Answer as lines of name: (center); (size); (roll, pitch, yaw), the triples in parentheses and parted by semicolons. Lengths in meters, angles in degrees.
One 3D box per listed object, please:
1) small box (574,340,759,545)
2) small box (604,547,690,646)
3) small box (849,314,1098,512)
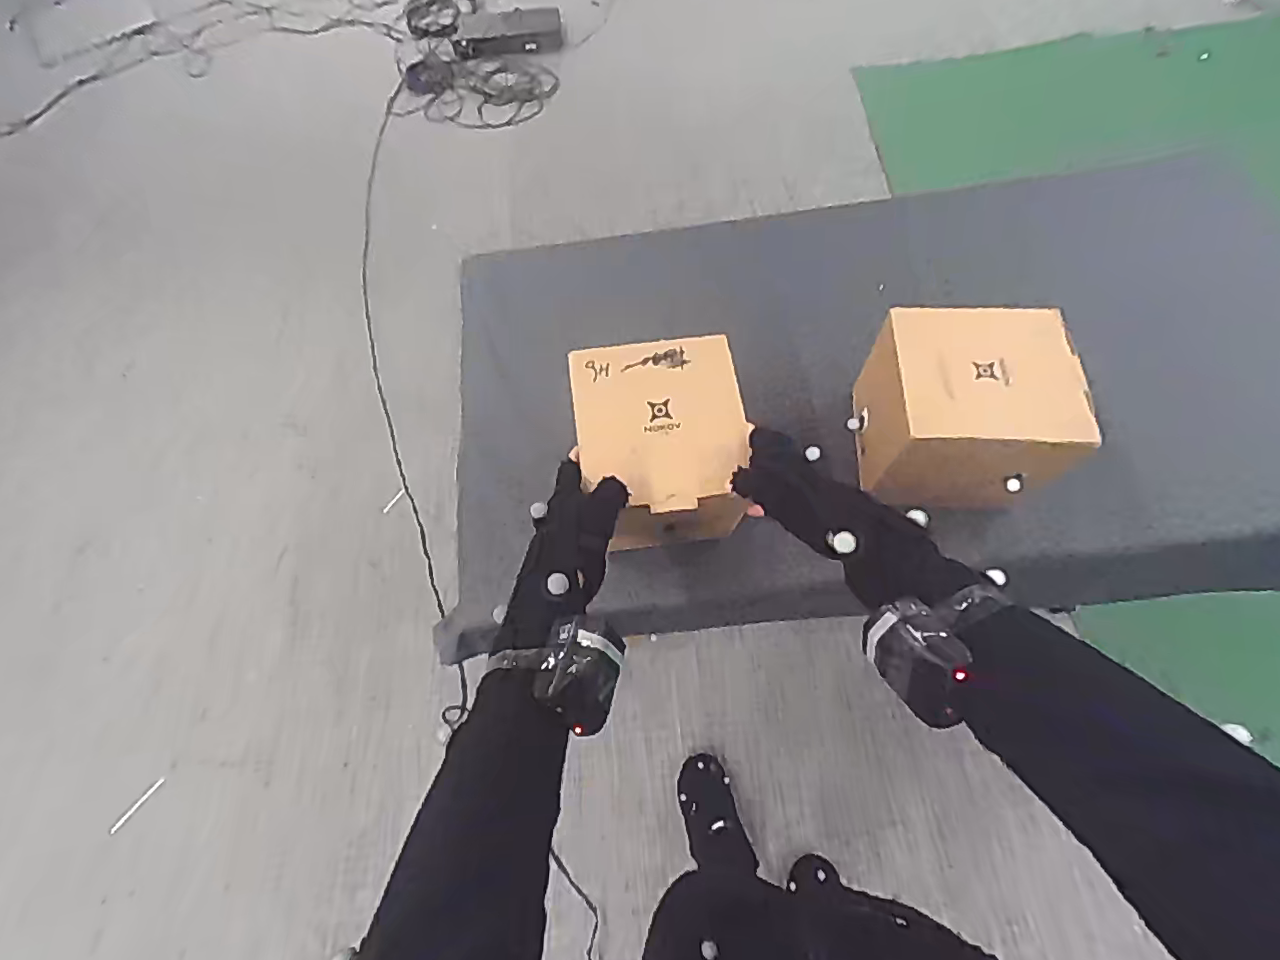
small box: (0.021, -0.030, 0.605); (0.168, 0.176, 0.179); (-7, 70, -4)
small box: (0.016, 0.283, 1.292); (0.168, 0.176, 0.179); (-14, 65, -2)
small box: (0.361, -0.070, 0.626); (0.179, 0.176, 0.168); (1, 63, 5)
